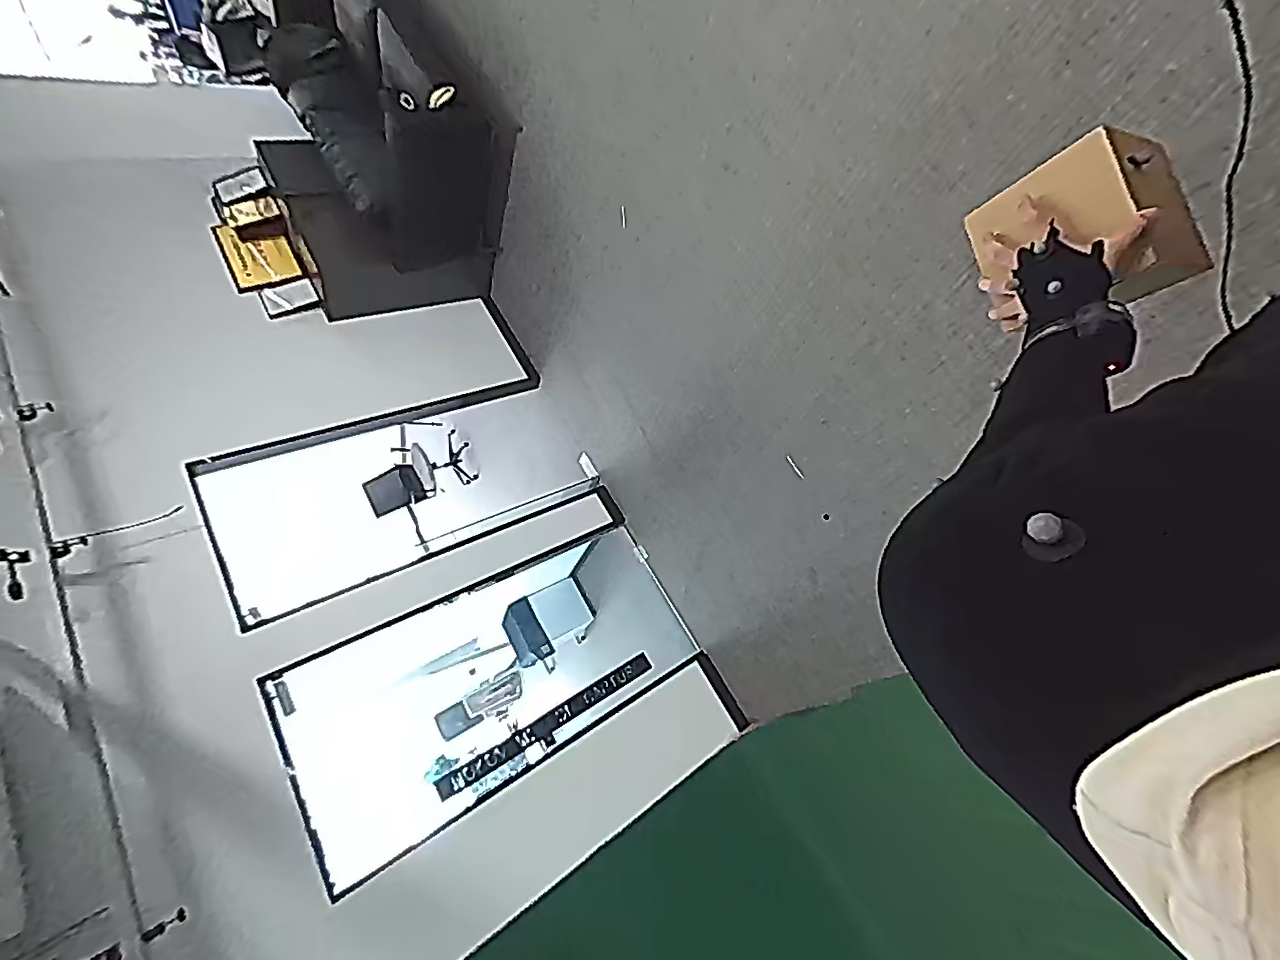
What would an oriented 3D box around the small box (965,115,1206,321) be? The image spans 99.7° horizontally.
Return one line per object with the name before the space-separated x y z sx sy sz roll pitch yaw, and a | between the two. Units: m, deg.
small box | 0.569 -0.320 0.699 0.168 0.176 0.179 -26 77 61
